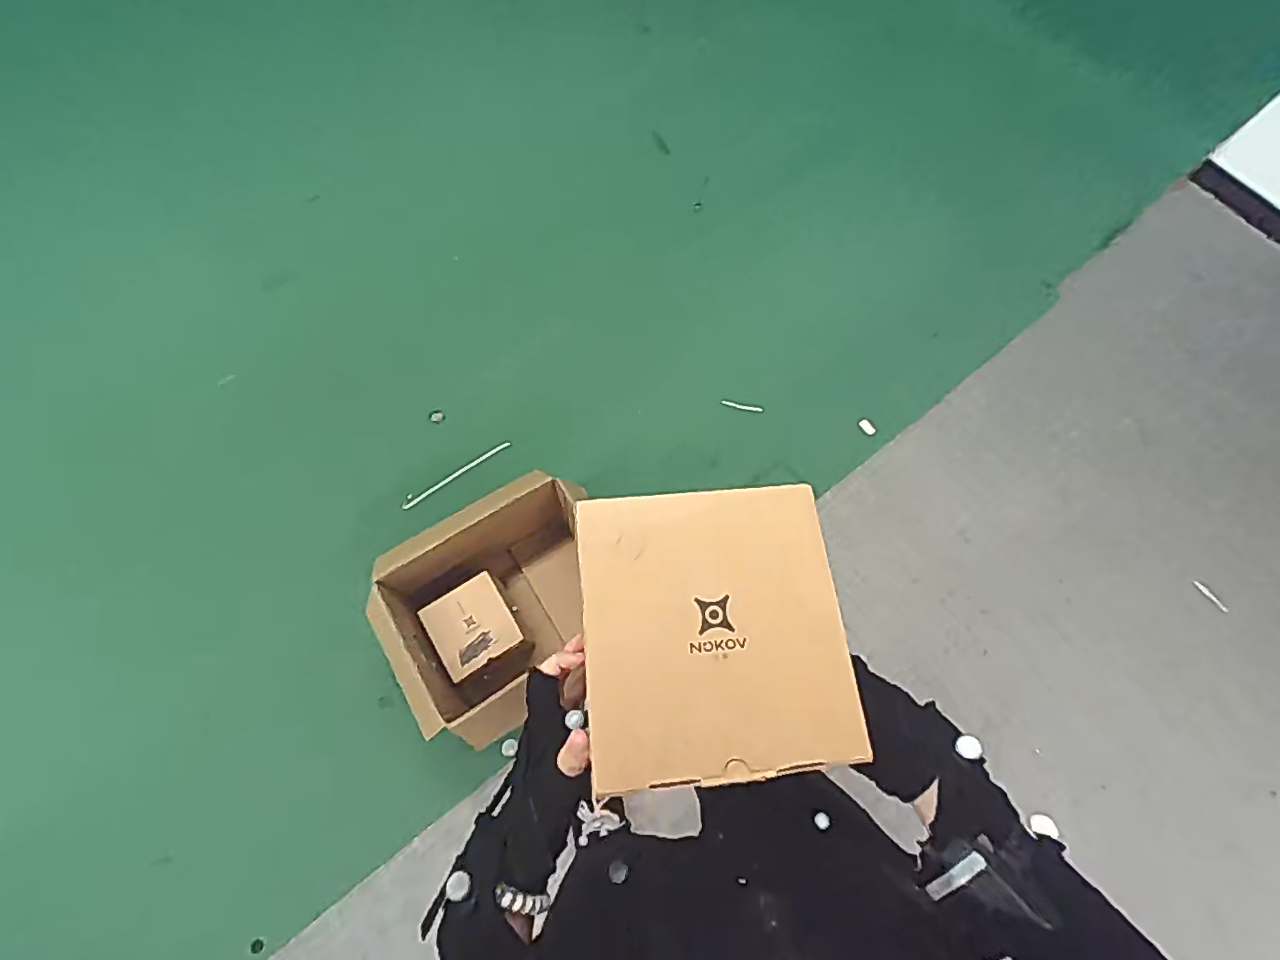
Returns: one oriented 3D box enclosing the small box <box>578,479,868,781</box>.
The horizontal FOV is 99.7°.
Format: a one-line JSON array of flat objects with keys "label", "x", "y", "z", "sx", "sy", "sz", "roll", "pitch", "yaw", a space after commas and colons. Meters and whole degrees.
[{"label": "small box", "x": 0.039, "y": 0.113, "z": 0.413, "sx": 0.168, "sy": 0.176, "sz": 0.179, "roll": -4, "pitch": 69, "yaw": -7}]
